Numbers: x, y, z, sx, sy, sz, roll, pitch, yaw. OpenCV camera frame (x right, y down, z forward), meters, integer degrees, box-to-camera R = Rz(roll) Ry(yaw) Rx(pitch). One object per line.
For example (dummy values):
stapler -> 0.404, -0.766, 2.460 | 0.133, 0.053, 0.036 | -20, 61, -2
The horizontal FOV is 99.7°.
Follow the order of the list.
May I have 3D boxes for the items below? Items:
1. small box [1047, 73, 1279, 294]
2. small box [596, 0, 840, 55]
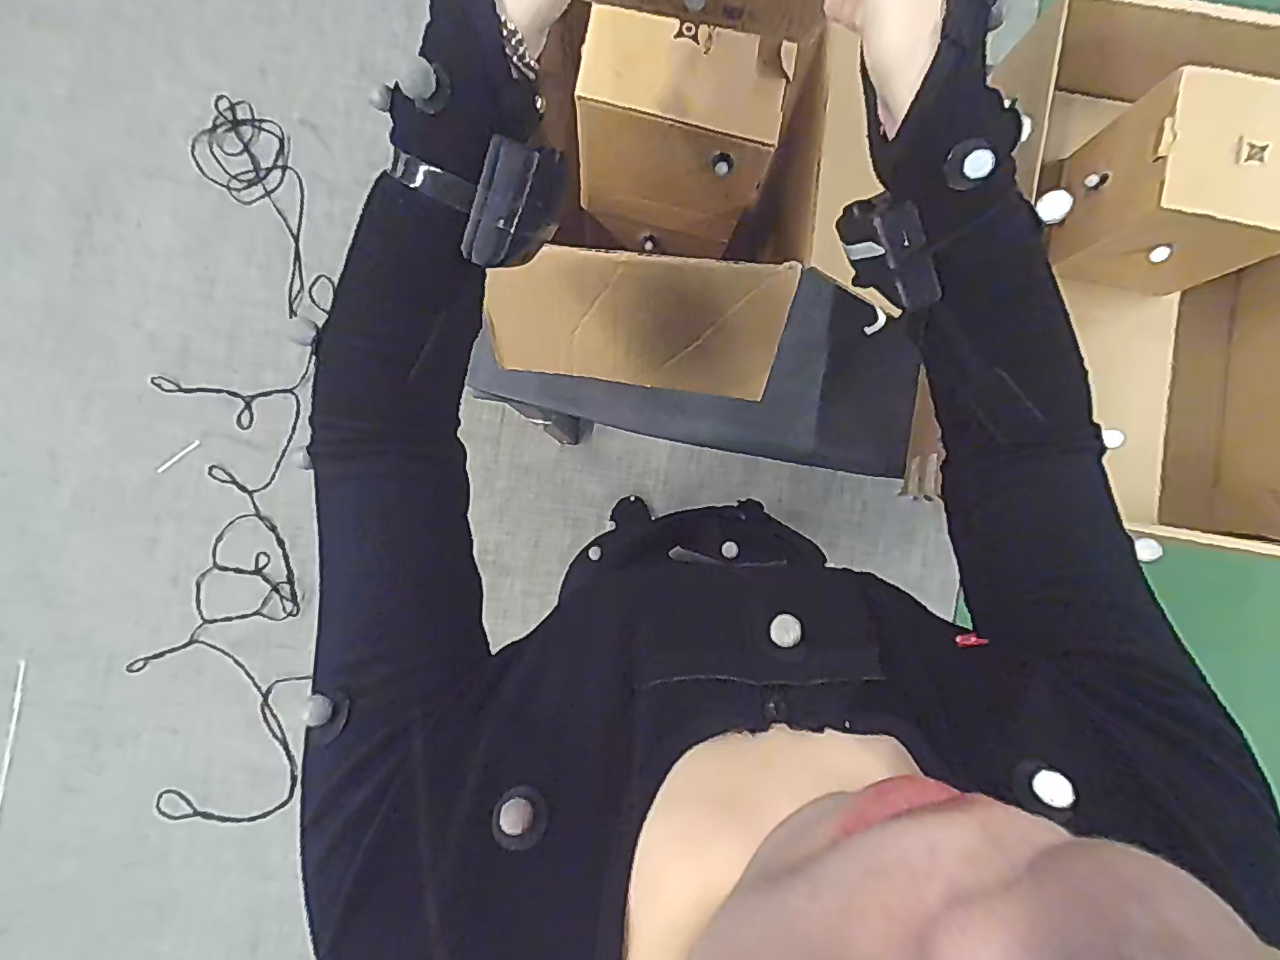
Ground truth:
small box -> 0.655, -0.350, 0.669 | 0.179, 0.176, 0.168 | 12, 88, 2
small box -> 0.056, -0.377, 0.283 | 0.168, 0.176, 0.179 | 8, 104, -4
